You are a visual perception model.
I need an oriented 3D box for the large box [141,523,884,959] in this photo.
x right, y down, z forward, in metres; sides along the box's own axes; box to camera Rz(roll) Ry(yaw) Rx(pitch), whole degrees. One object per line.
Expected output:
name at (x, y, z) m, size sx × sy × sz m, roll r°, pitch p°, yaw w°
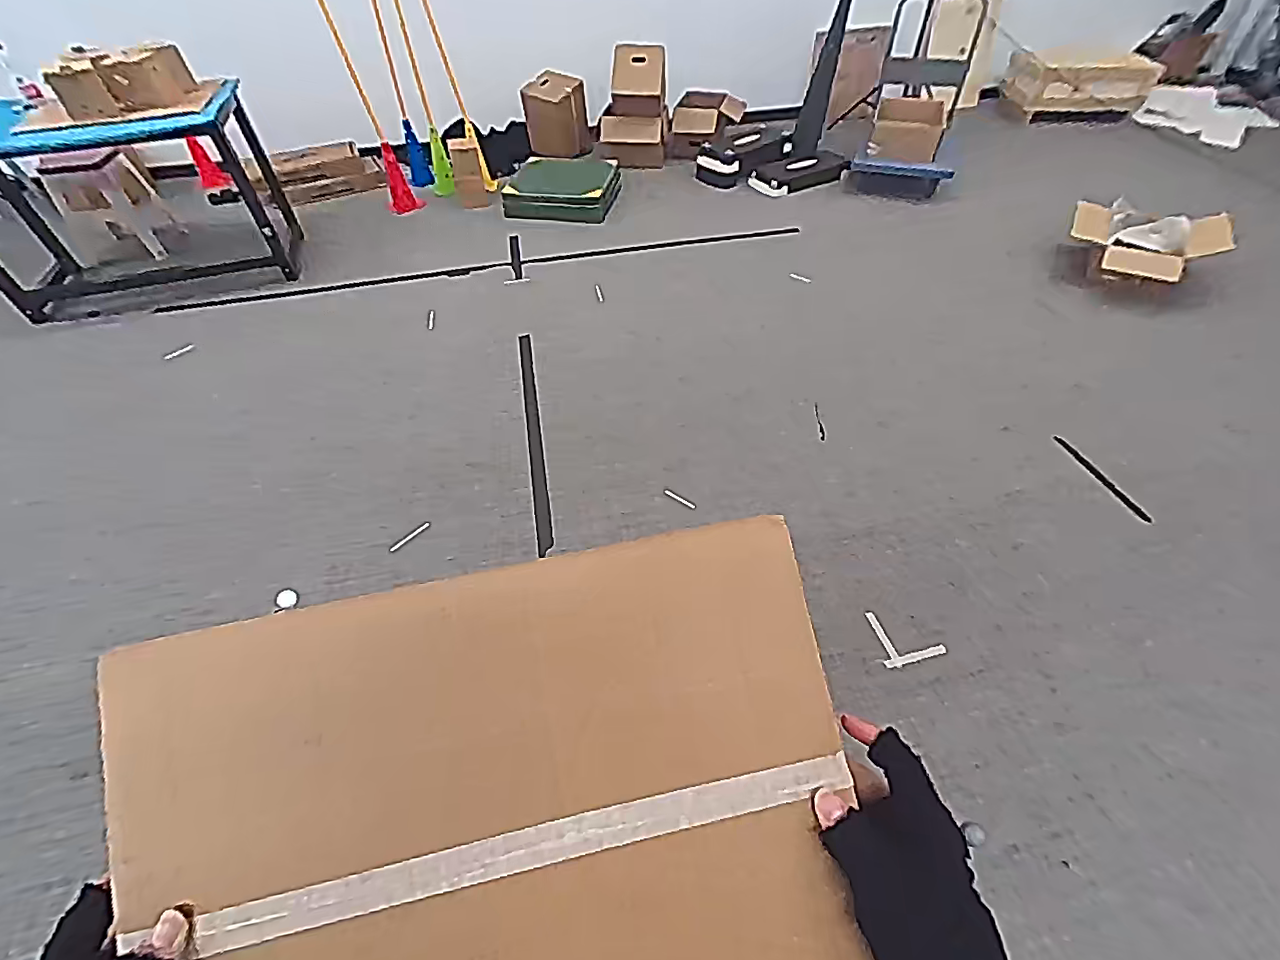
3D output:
large box at (-0.083, 0.238, 0.462) m, size 0.408 × 0.320 × 0.320 m, roll -11°, pitch 83°, yaw -5°
